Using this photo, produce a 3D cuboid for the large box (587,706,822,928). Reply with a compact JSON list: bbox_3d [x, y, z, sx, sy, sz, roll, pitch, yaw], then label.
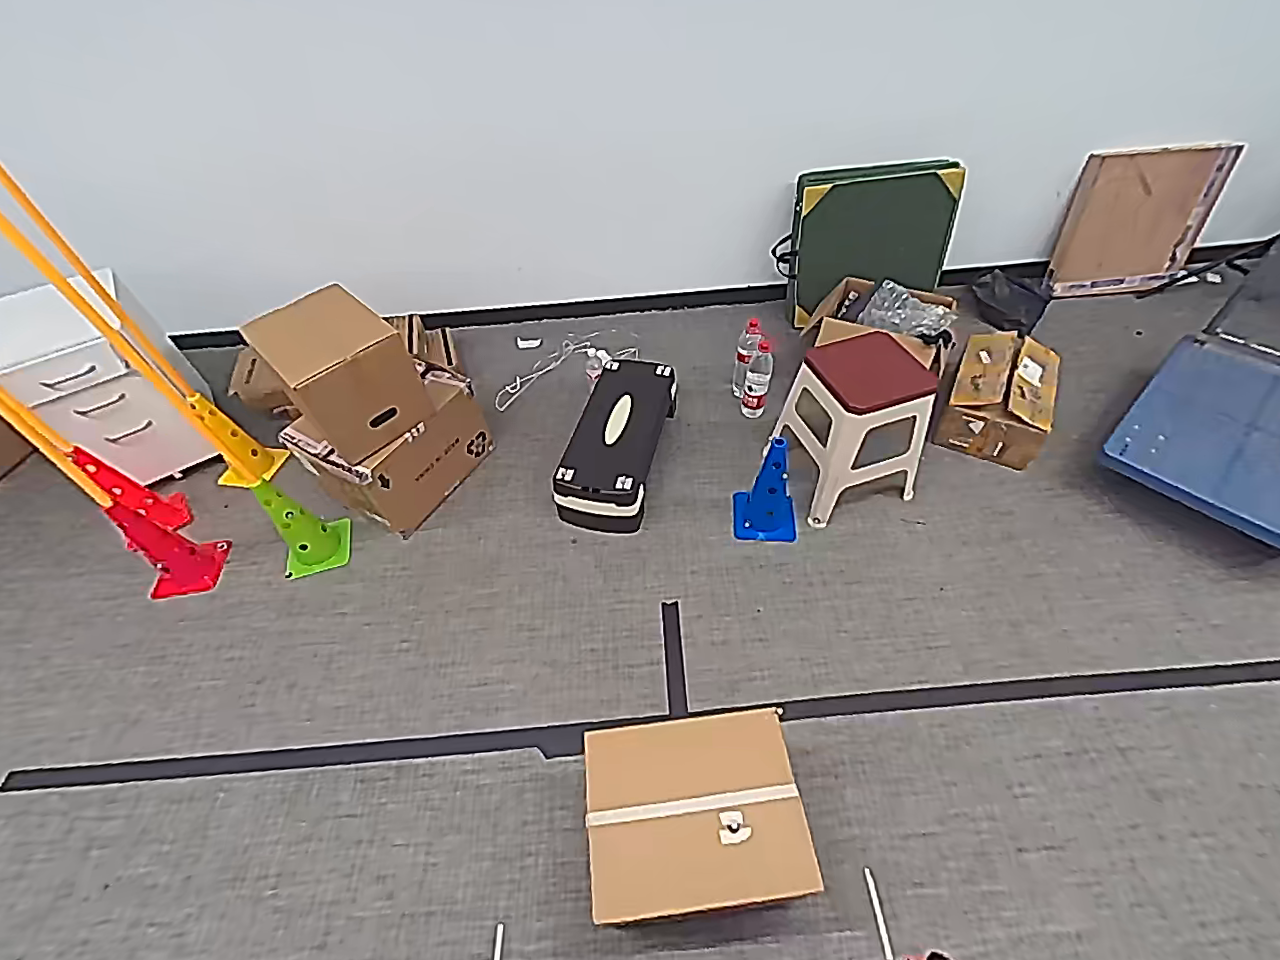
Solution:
[{"bbox_3d":[0.109,0.712,1.139,0.408,0.320,0.320,-6,50,-3],"label":"large box"}]
